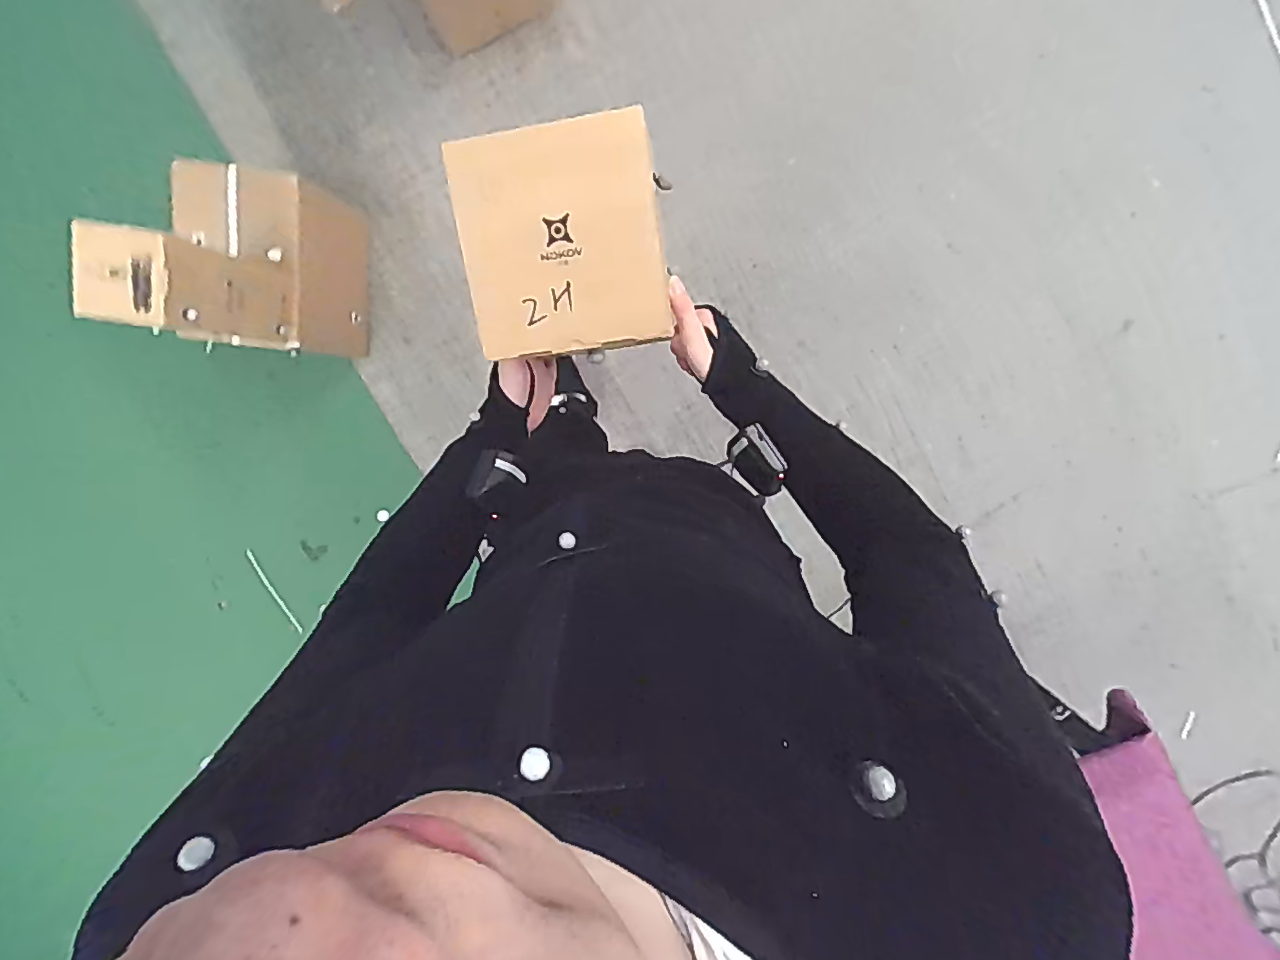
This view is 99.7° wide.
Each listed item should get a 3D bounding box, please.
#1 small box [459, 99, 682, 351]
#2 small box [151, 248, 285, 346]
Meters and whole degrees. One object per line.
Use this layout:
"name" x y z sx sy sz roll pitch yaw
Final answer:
"small box" -0.049 -0.220 0.517 0.168 0.176 0.179 -5 104 6
"small box" -0.930 -0.399 1.206 0.179 0.176 0.168 10 99 2
